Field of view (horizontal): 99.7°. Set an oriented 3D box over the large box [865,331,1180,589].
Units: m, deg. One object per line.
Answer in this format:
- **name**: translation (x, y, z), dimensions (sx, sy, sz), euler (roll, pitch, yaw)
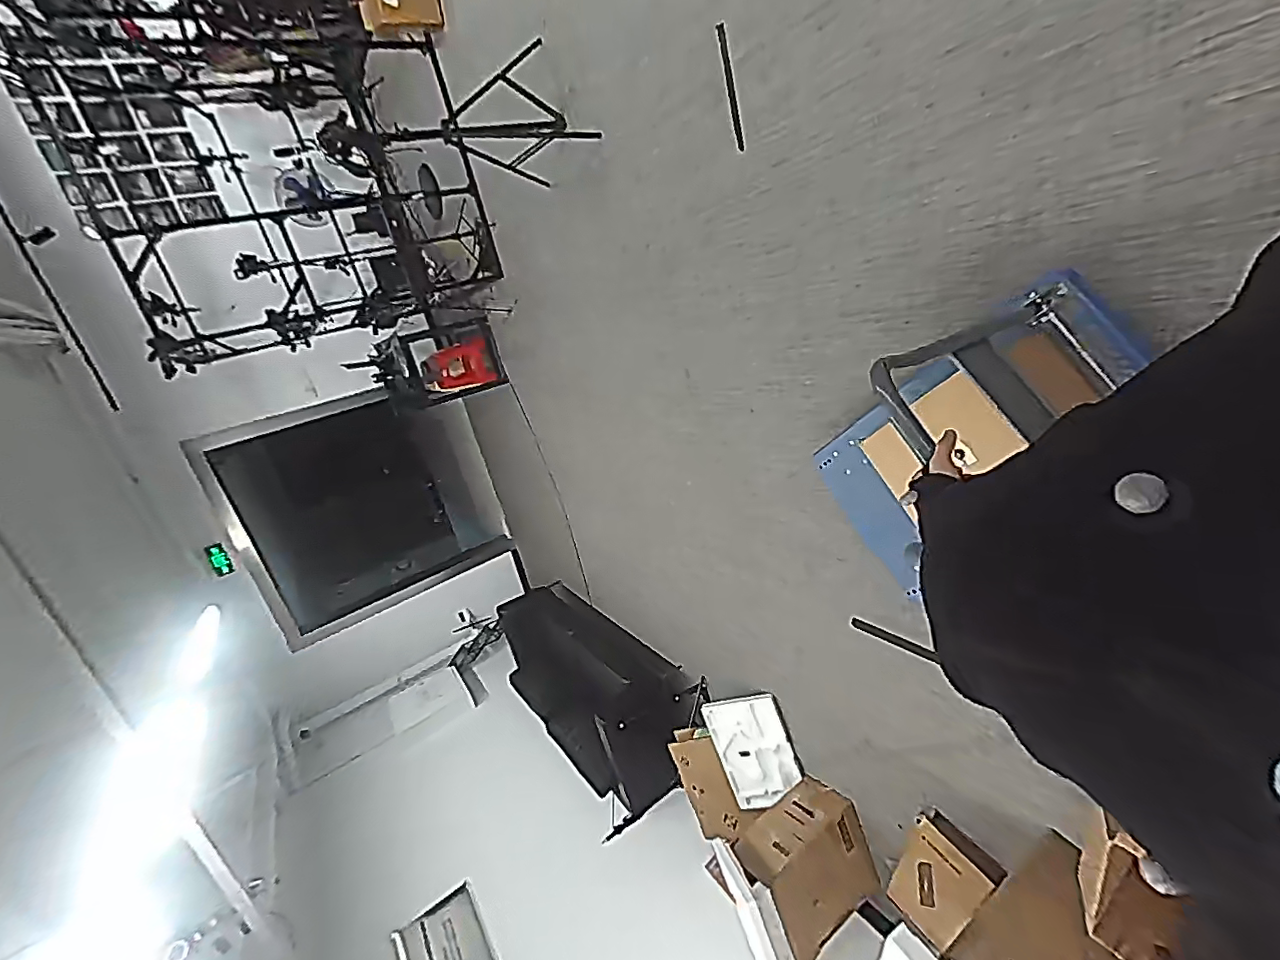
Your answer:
- **large box**: translation (0.791, -0.041, 1.156), dimensions (0.408, 0.320, 0.320), euler (60, 152, 13)
